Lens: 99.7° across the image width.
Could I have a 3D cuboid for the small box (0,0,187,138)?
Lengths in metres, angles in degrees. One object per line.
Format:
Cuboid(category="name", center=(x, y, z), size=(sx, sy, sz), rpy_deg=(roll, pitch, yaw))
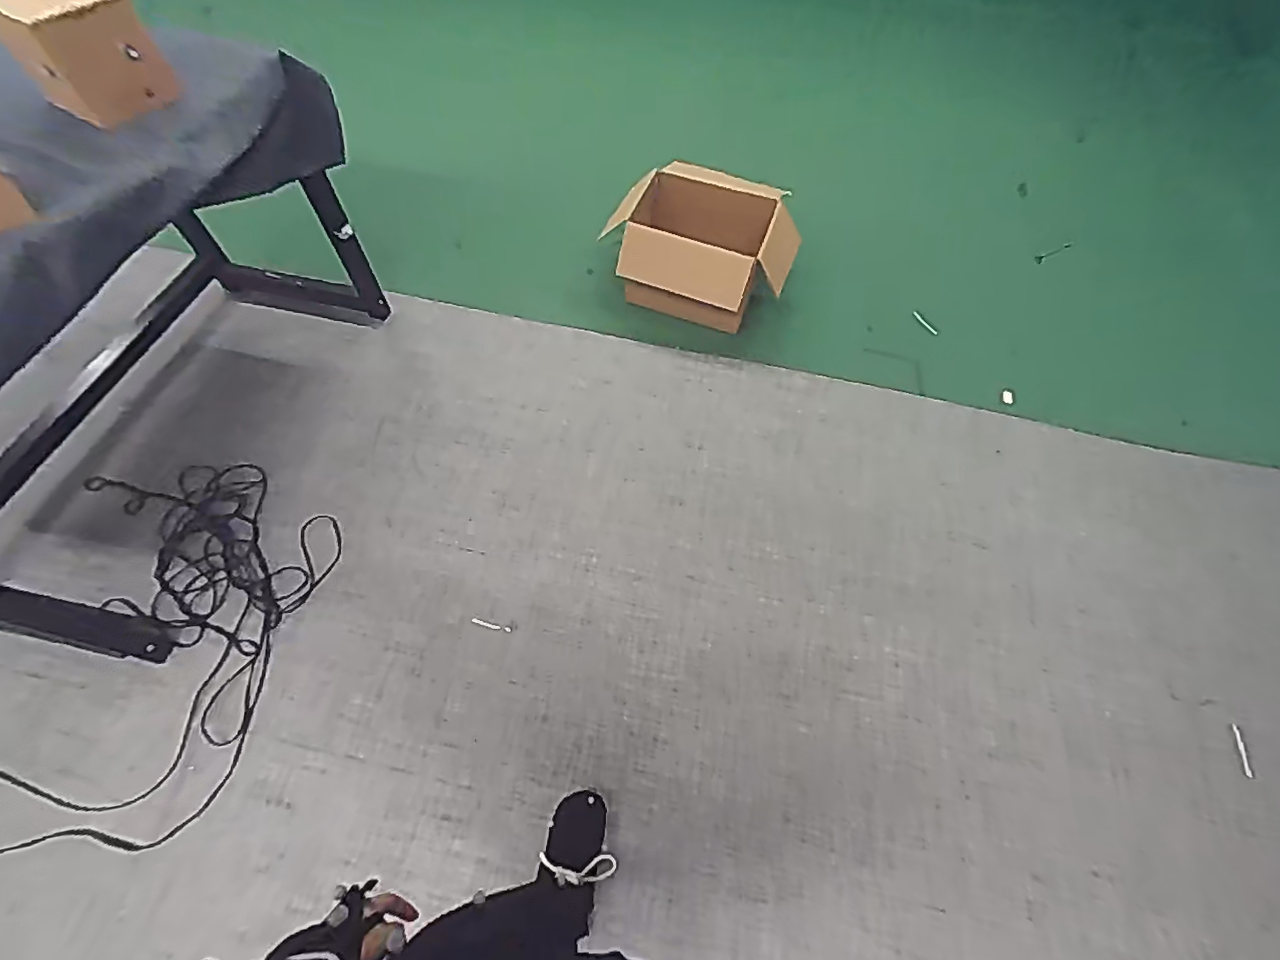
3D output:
Cuboid(category="small box", center=(-1.008, -0.767, 1.000), size=(0.179, 0.176, 0.168), rpy_deg=(27, 61, 14))
